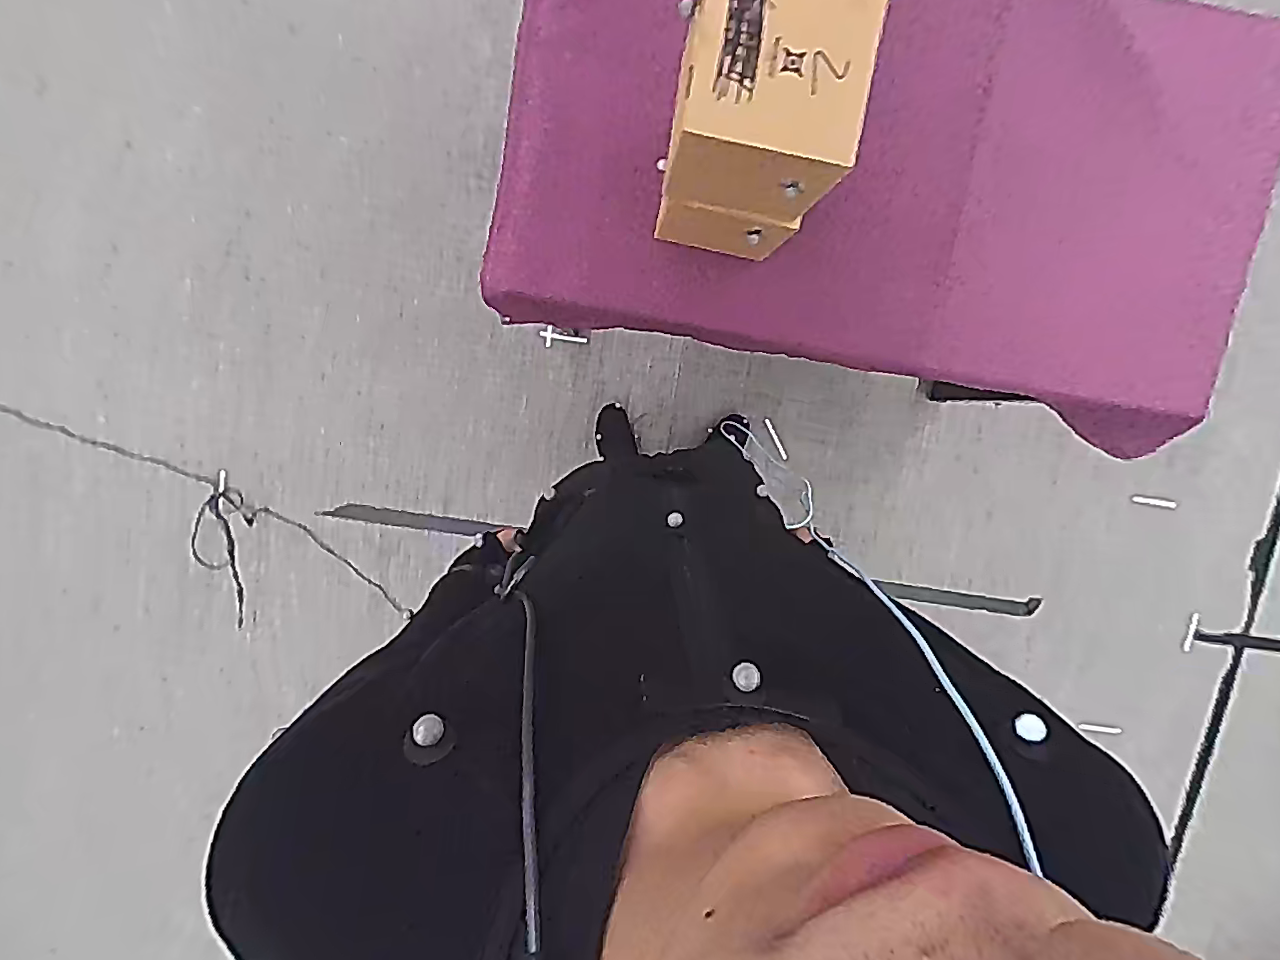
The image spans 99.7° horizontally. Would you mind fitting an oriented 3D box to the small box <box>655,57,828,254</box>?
[{"bbox_3d":[0.127,-0.427,0.748,0.179,0.176,0.168,10,98,-6],"label":"small box"}]
